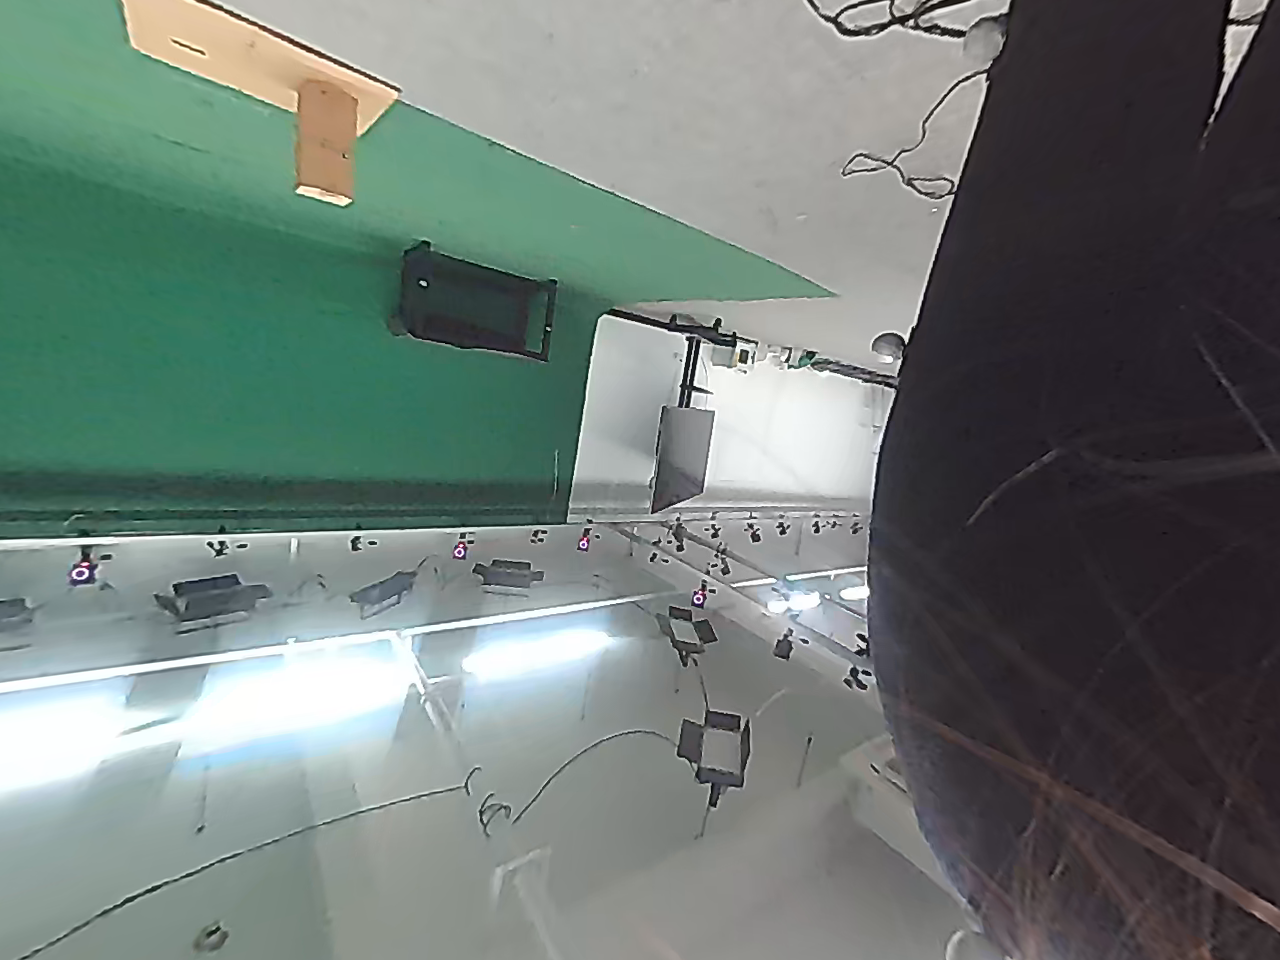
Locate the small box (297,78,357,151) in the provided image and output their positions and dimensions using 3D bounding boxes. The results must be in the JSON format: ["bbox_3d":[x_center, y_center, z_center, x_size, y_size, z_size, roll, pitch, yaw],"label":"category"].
[{"bbox_3d":[-1.121,-1.292,1.936,0.168,0.176,0.179,0,-167,-39],"label":"small box"}]

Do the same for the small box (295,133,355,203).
[{"bbox_3d":[-1.146,-1.132,1.967,0.168,0.176,0.179,0,-165,-40],"label":"small box"}]
